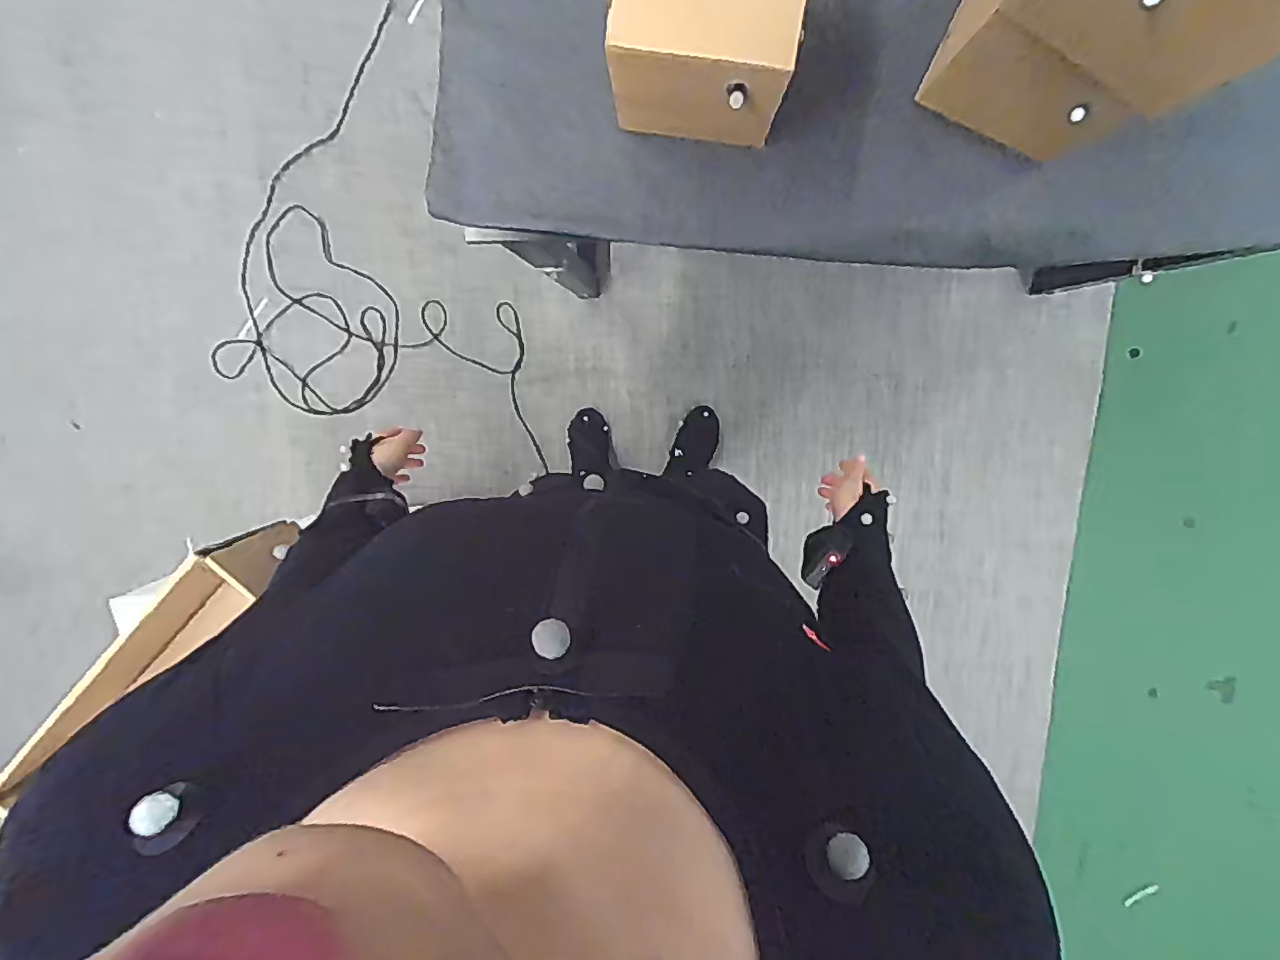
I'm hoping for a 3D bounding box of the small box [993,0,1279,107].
[{"bbox_3d":[0.410,-0.409,0.380,0.179,0.176,0.168,31,101,-3],"label":"small box"}]

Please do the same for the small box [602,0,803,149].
[{"bbox_3d":[0.066,-0.468,0.557,0.179,0.176,0.168,9,101,2],"label":"small box"}]
